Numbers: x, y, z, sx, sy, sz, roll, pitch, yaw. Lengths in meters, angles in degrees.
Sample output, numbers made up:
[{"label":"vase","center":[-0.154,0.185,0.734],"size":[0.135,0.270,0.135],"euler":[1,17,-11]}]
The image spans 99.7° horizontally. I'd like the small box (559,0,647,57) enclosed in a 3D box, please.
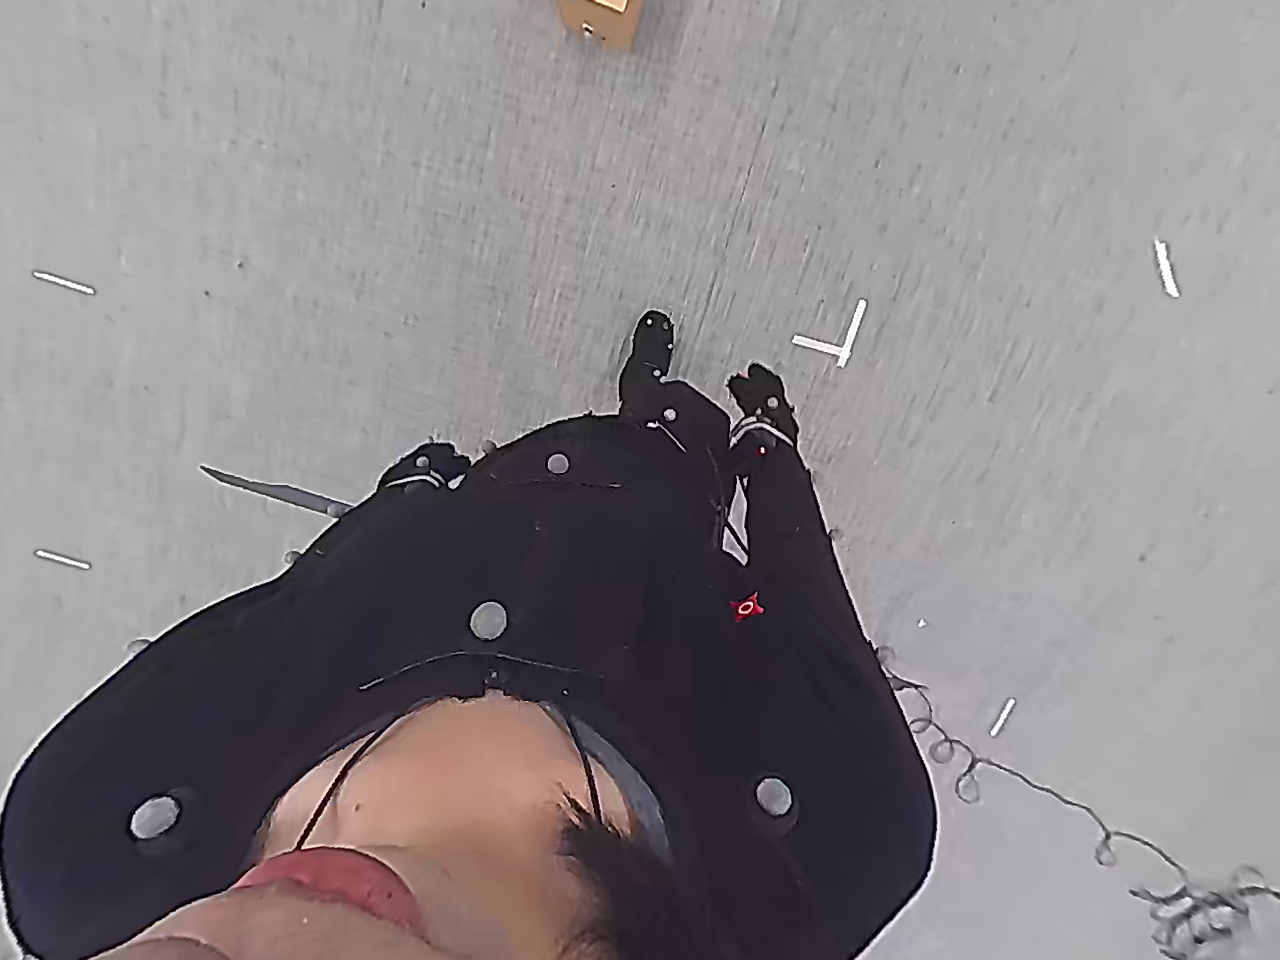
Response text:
[{"label":"small box","center":[-0.076,-1.085,1.180],"size":[0.168,0.176,0.179],"euler":[20,104,-2]}]
